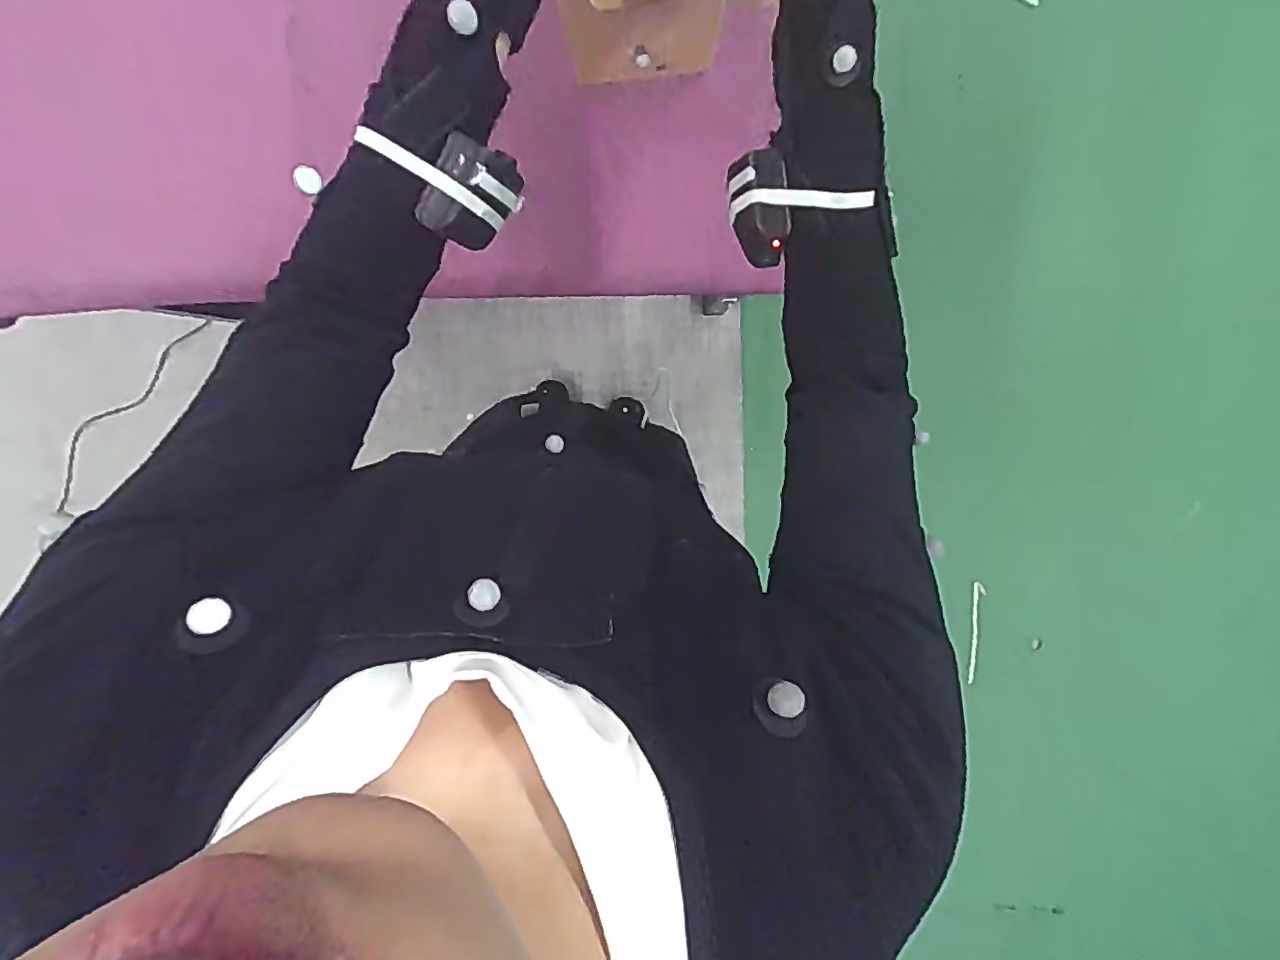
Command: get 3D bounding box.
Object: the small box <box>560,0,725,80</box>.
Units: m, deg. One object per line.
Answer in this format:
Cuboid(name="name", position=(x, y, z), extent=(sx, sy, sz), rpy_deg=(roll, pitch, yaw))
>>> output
Cuboid(name="small box", position=(-0.004, -0.556, 0.554), extent=(0.168, 0.176, 0.179), rpy_deg=(-5, 101, 1))
